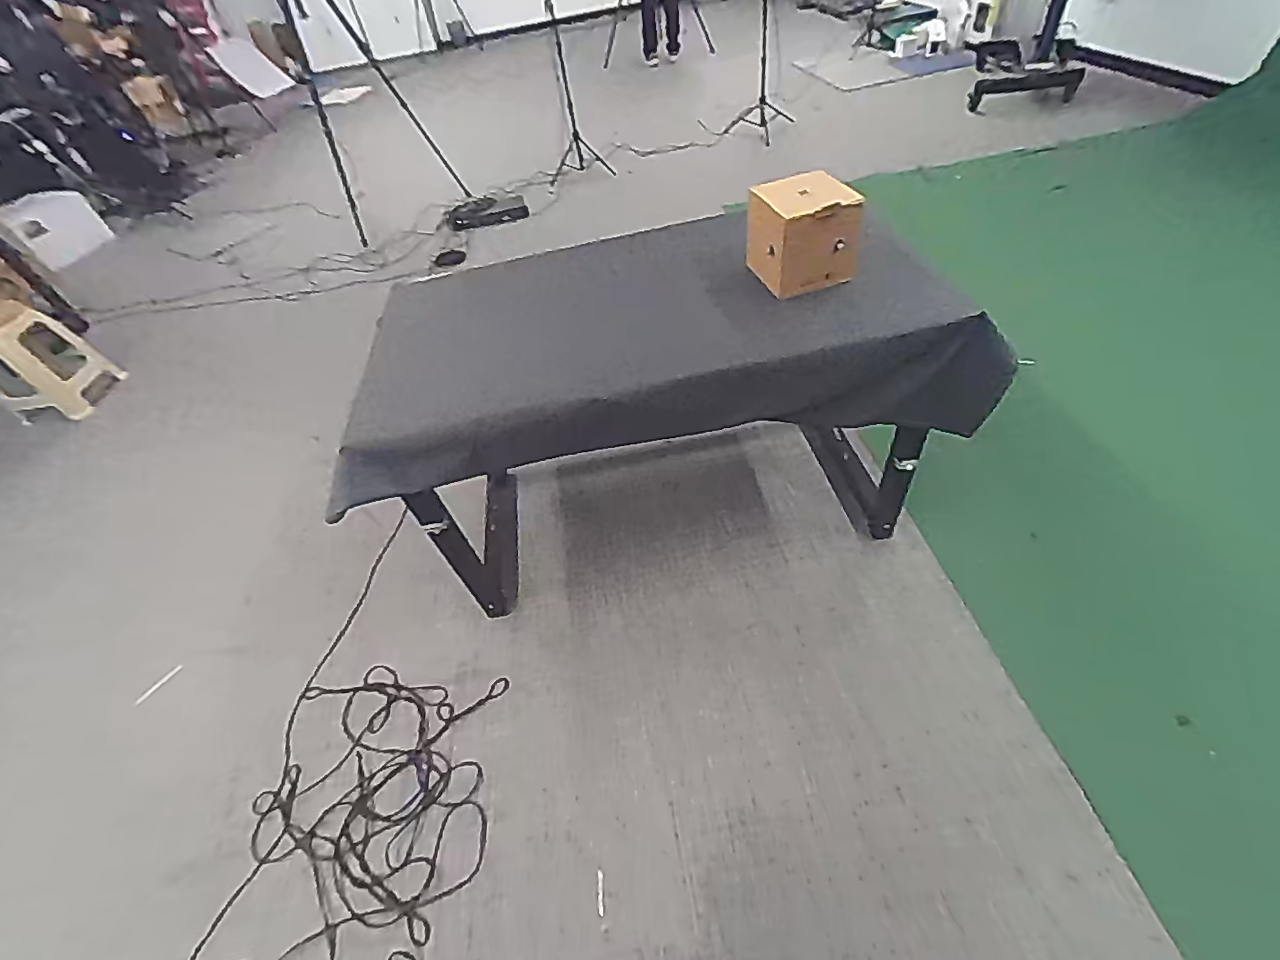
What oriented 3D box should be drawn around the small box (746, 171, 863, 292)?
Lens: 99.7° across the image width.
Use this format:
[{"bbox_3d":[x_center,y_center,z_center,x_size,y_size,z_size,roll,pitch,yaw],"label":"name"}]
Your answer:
[{"bbox_3d":[0.328,-0.504,1.112,0.168,0.176,0.179,-16,47,-6],"label":"small box"}]
